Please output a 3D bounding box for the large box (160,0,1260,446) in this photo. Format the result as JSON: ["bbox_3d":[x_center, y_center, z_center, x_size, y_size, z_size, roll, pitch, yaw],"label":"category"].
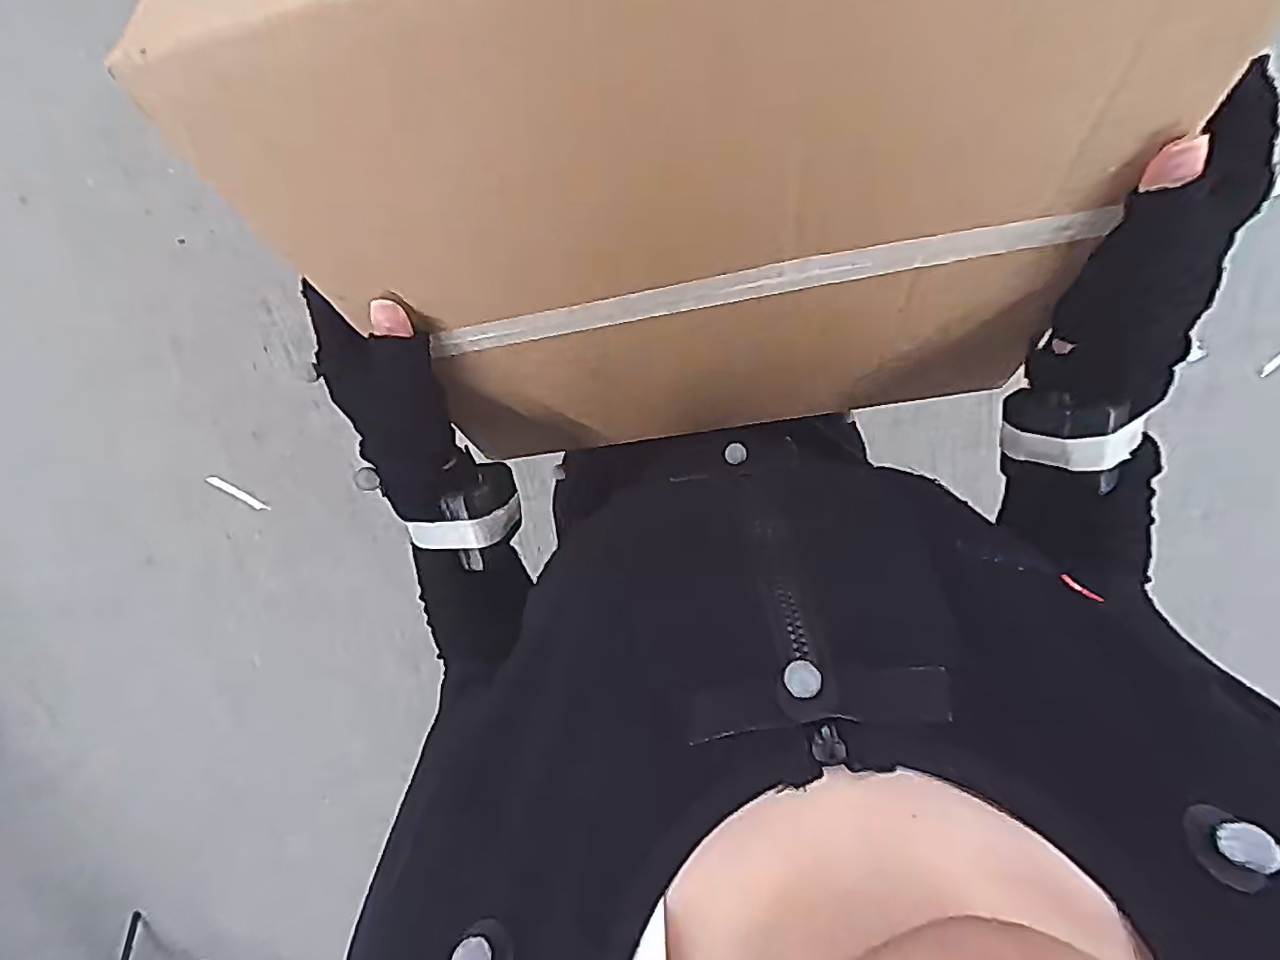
[{"bbox_3d":[0.033,-0.251,0.363,0.408,0.320,0.320,-7,156,7],"label":"large box"}]
